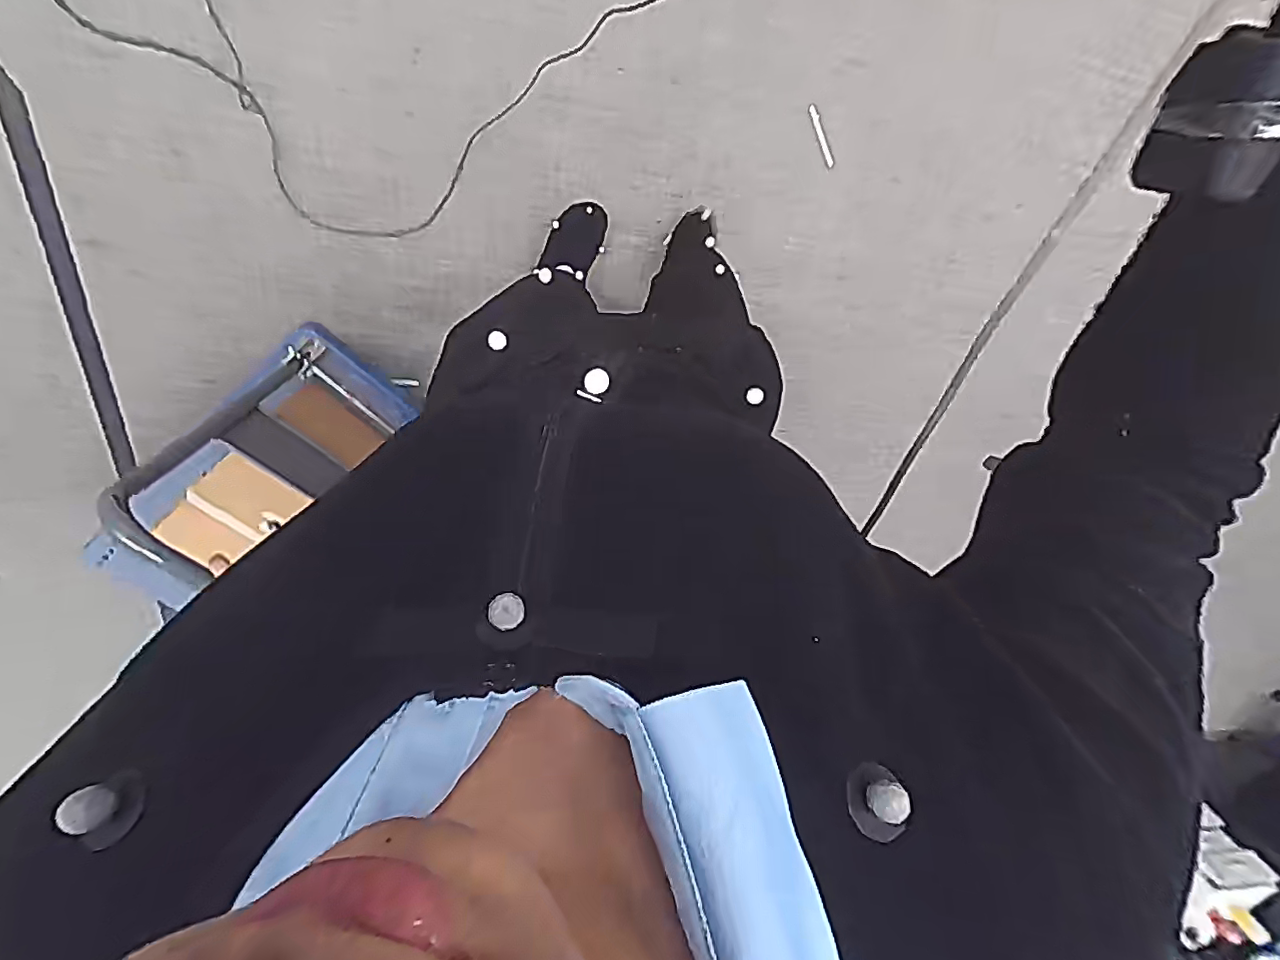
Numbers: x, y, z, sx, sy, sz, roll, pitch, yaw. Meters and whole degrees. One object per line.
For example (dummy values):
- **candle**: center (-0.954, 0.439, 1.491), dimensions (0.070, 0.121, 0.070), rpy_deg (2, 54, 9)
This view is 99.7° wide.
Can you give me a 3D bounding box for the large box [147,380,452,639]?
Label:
- **large box**: center (-0.686, 0.063, 1.176), dimensions (0.320, 0.320, 0.408), rpy_deg (-38, 118, 12)
